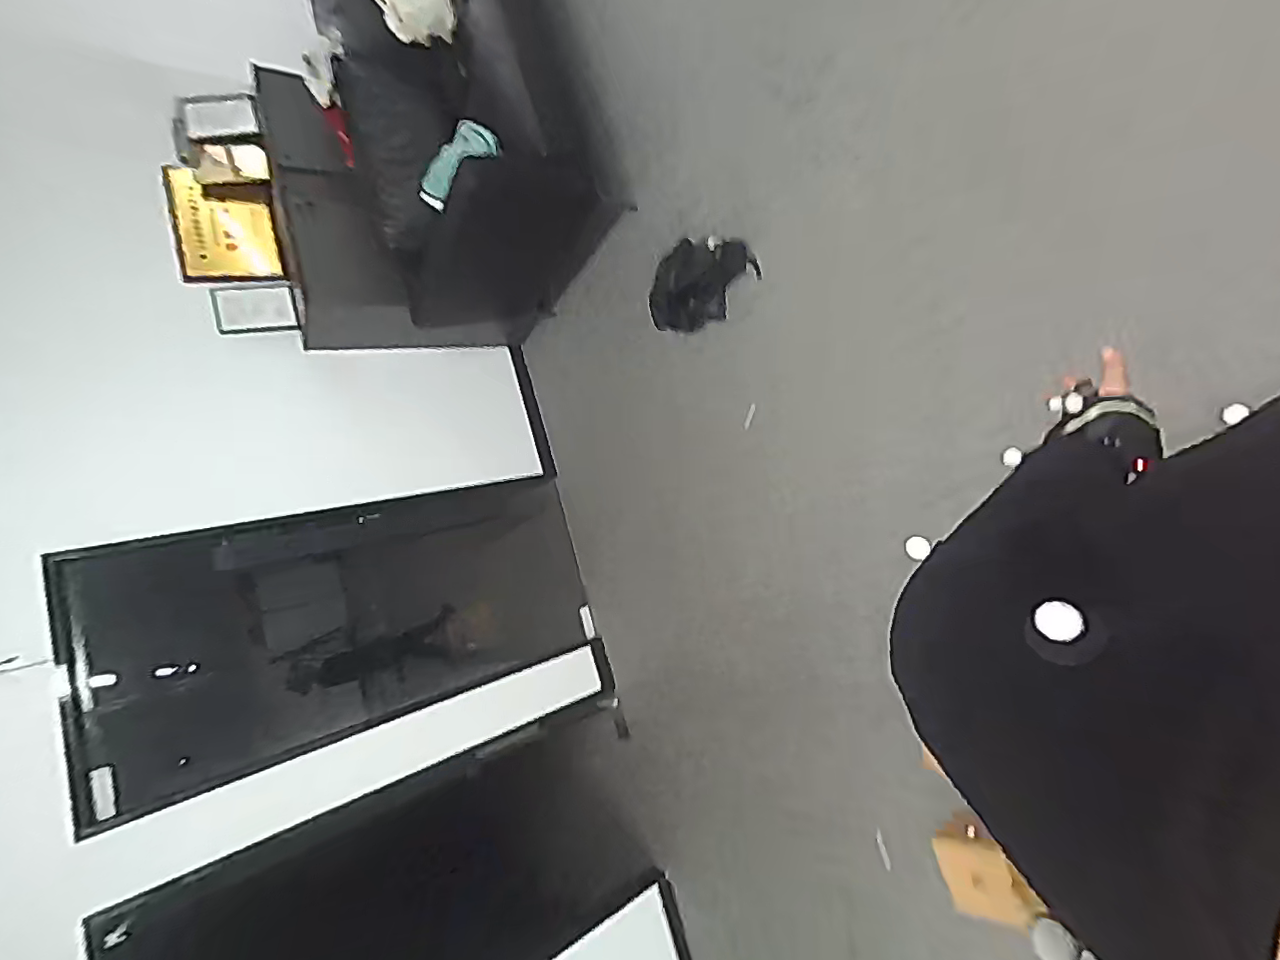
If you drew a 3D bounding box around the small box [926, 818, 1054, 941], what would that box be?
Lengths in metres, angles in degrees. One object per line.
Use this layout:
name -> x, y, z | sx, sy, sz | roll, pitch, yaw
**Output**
small box -> 0.836, 0.939, 1.294 | 0.179, 0.176, 0.168 | -36, 69, 51
